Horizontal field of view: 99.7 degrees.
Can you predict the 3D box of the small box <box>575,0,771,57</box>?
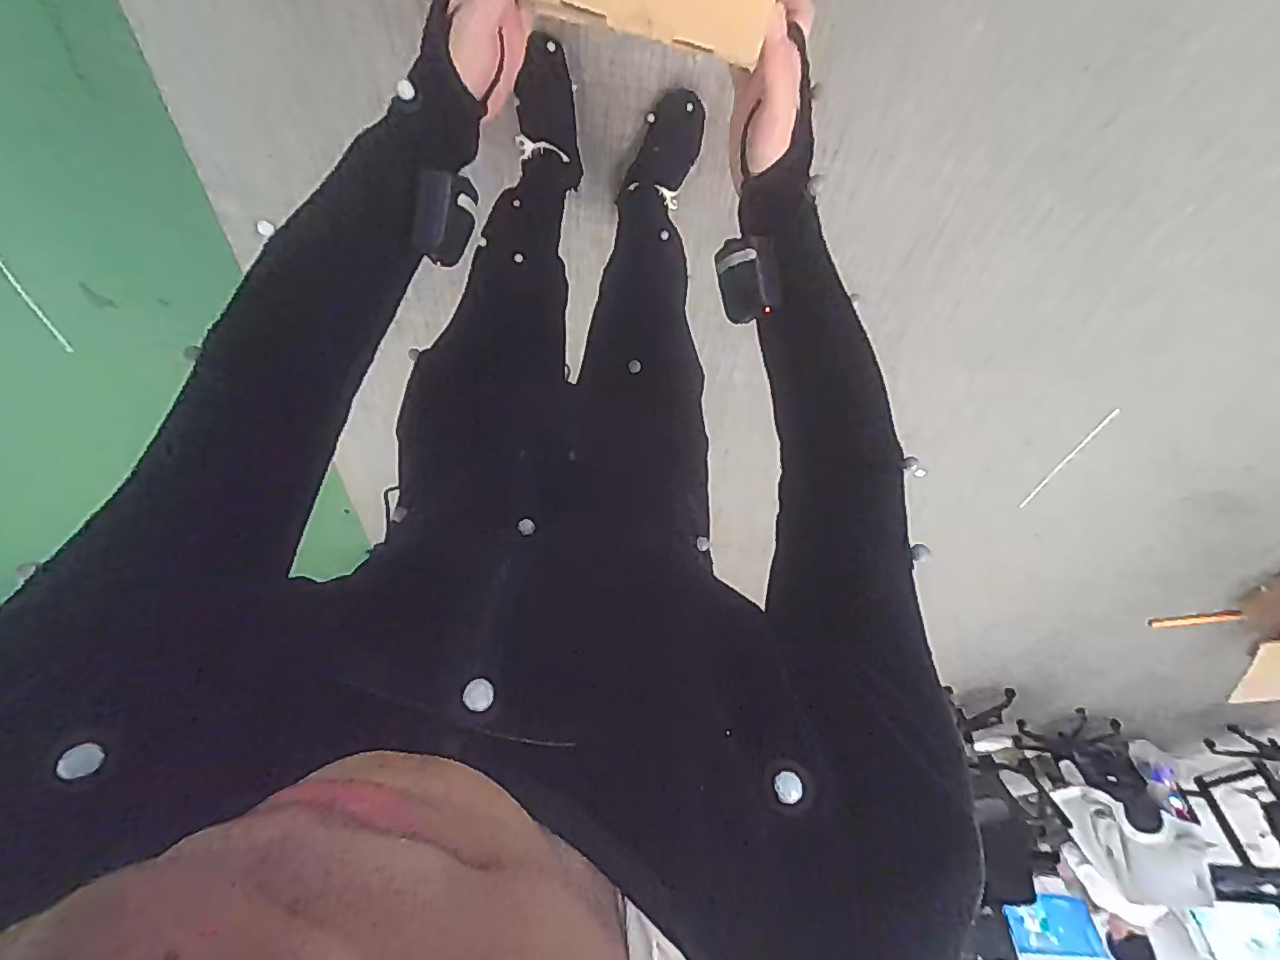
[{"bbox_3d":[0.015,-0.410,0.345,0.168,0.176,0.179,9,134,-11],"label":"small box"}]
